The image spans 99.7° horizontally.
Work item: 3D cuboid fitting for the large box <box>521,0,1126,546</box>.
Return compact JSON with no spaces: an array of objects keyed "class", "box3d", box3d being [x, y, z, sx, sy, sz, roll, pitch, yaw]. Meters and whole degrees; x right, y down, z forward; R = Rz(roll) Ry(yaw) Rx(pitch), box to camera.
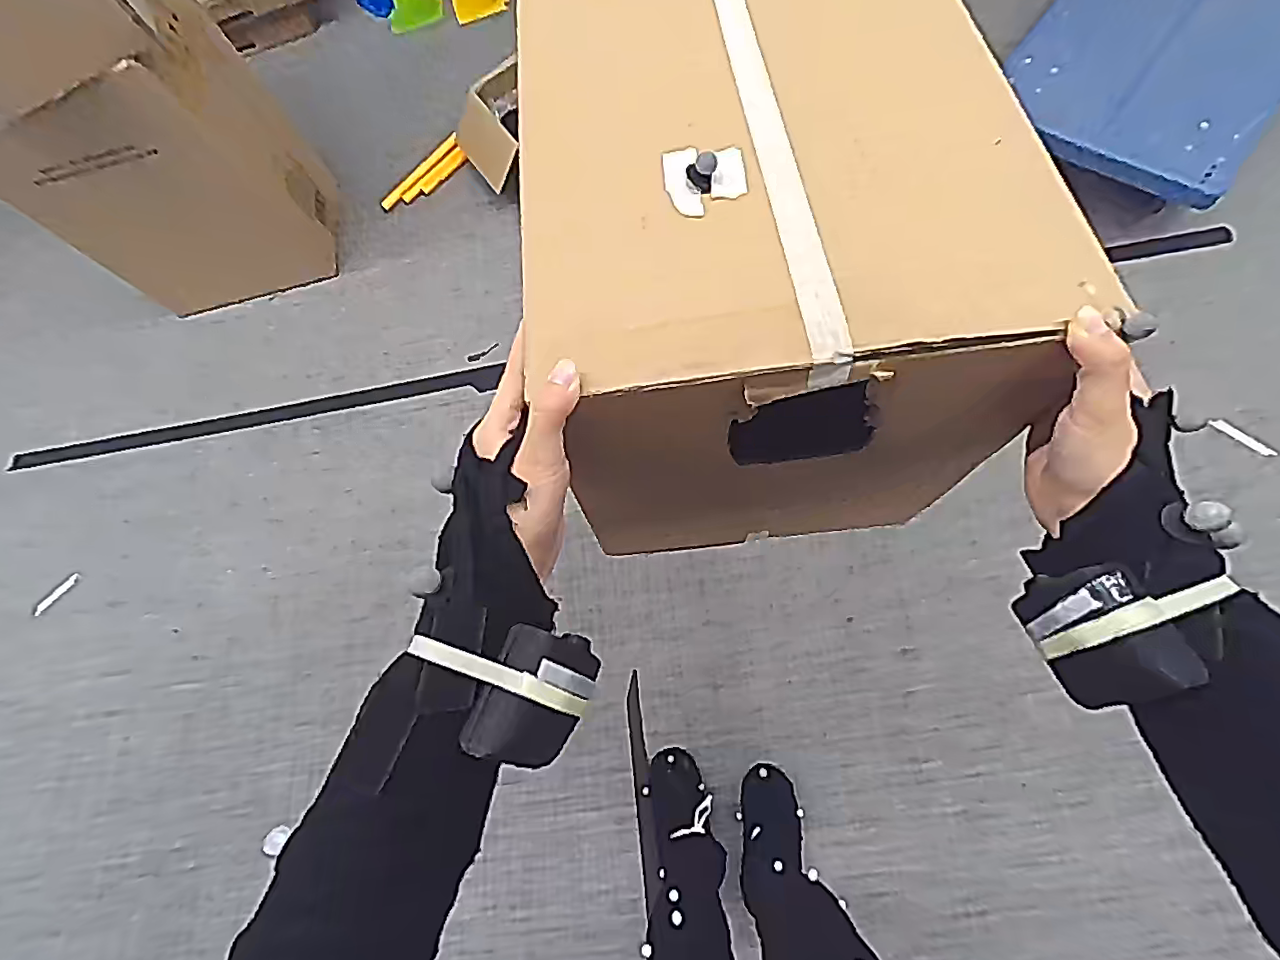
[{"class":"large box","box3d":[0.089,-0.186,0.497,0.320,0.320,0.408,-8,67,2]}]
